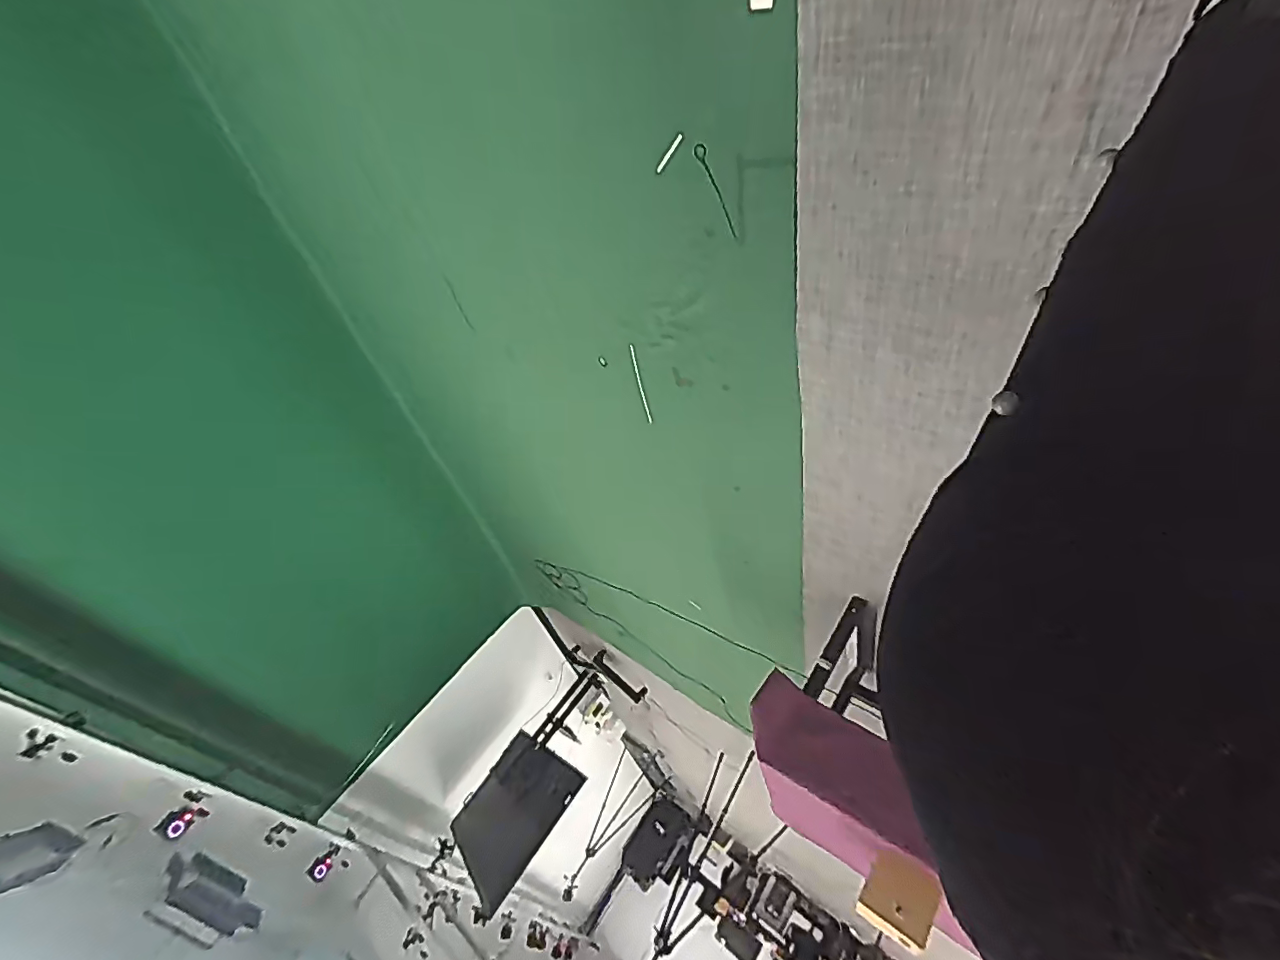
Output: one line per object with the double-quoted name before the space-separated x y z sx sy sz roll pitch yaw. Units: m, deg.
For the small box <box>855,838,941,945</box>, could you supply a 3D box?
"small box" 0.738 1.171 1.547 0.179 0.176 0.168 22 146 35
